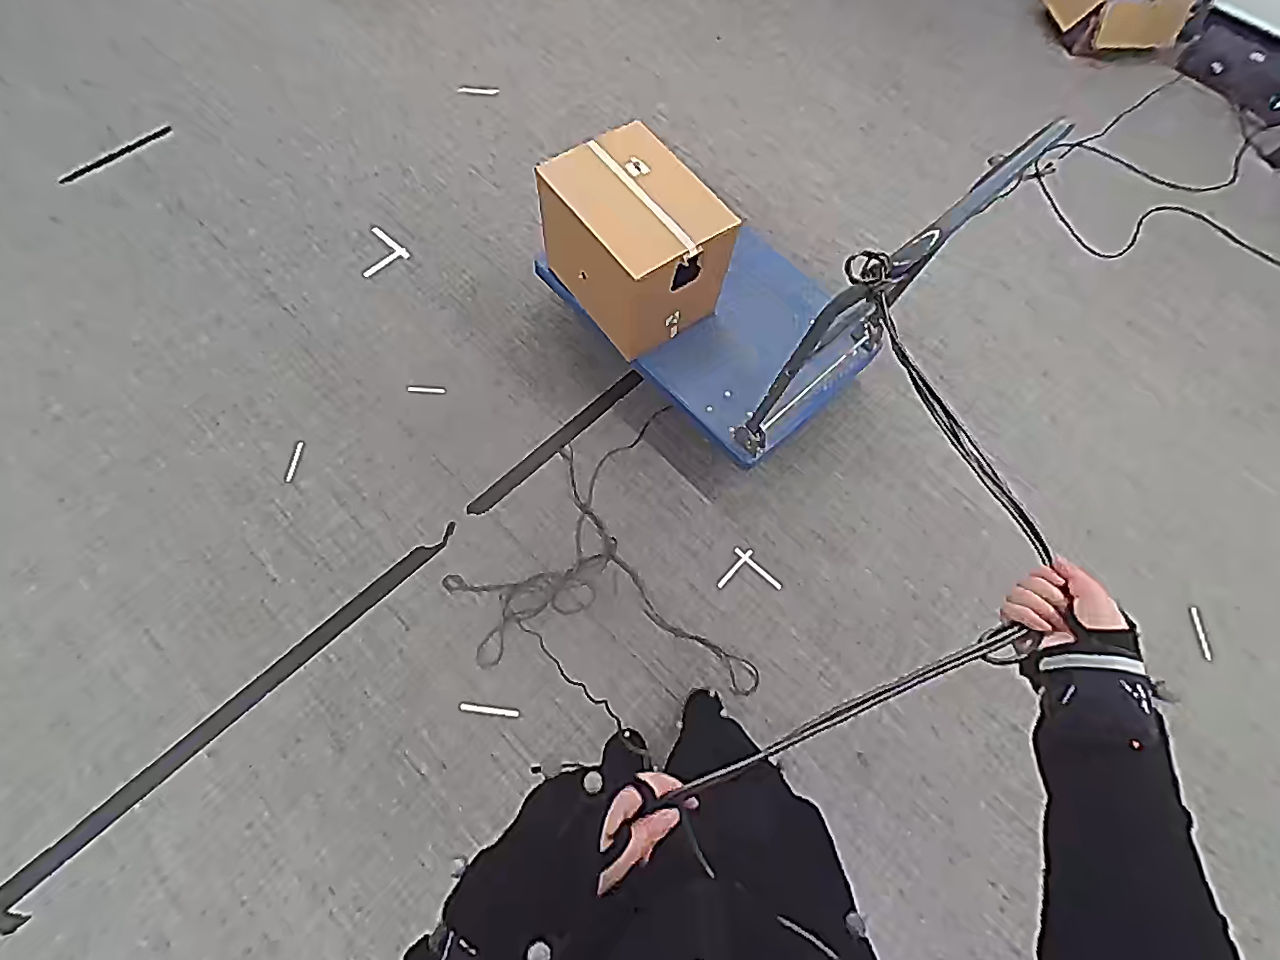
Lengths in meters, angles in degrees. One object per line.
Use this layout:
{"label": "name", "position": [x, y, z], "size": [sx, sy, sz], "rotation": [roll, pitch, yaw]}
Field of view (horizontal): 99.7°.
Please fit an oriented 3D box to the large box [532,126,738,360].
{"label": "large box", "position": [-0.020, -0.594, 1.386], "size": [0.320, 0.320, 0.408], "rotation": [-34, 74, -17]}
